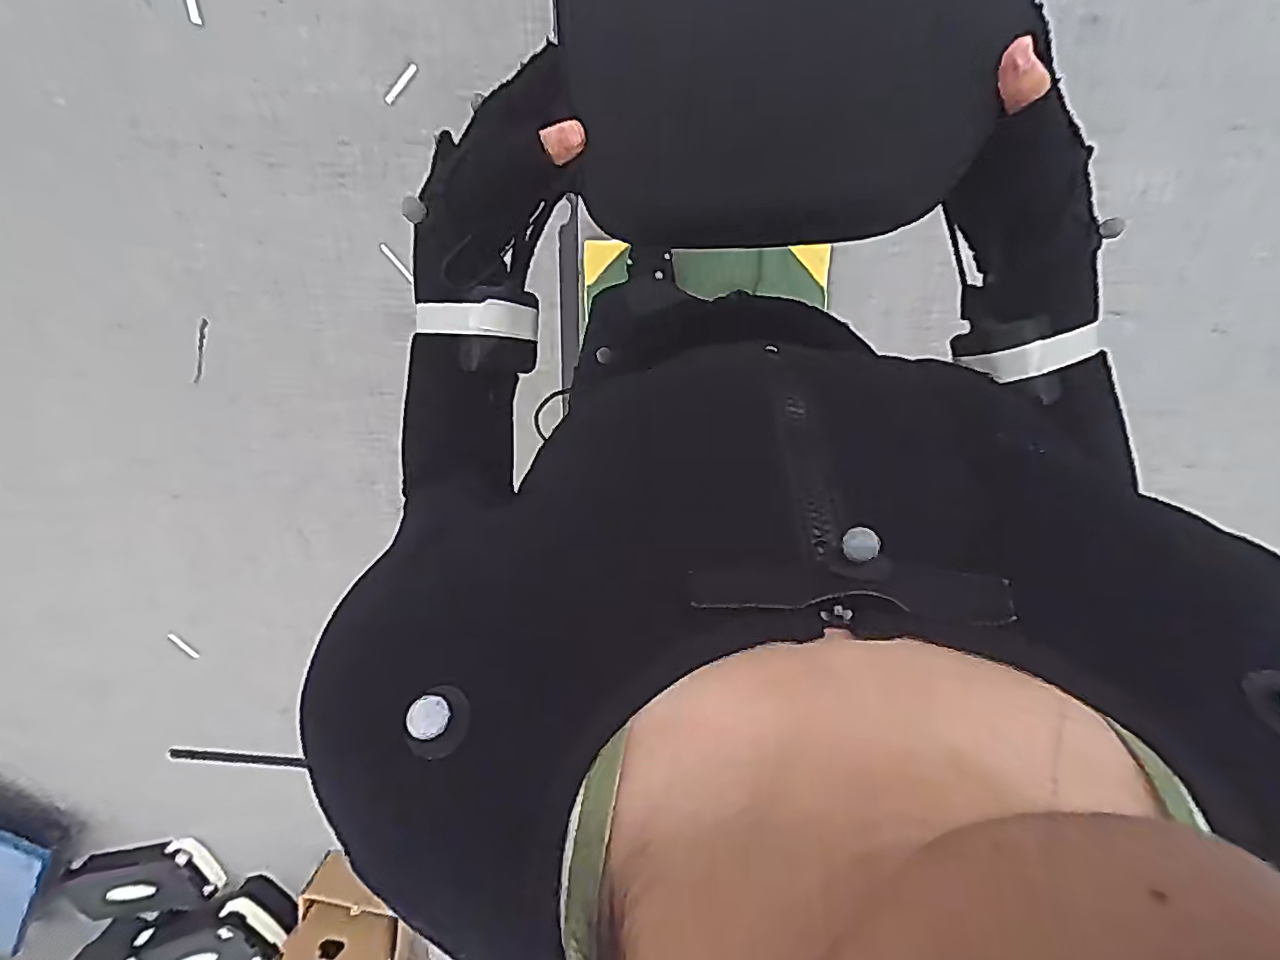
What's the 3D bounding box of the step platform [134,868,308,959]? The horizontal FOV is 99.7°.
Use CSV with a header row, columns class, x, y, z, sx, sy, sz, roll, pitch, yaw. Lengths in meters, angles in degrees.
class,x,y,z,sx,sy,sz,roll,pitch,yaw
step platform,-1.821,1.945,2.348,0.684,0.204,0.286,-26,107,12
